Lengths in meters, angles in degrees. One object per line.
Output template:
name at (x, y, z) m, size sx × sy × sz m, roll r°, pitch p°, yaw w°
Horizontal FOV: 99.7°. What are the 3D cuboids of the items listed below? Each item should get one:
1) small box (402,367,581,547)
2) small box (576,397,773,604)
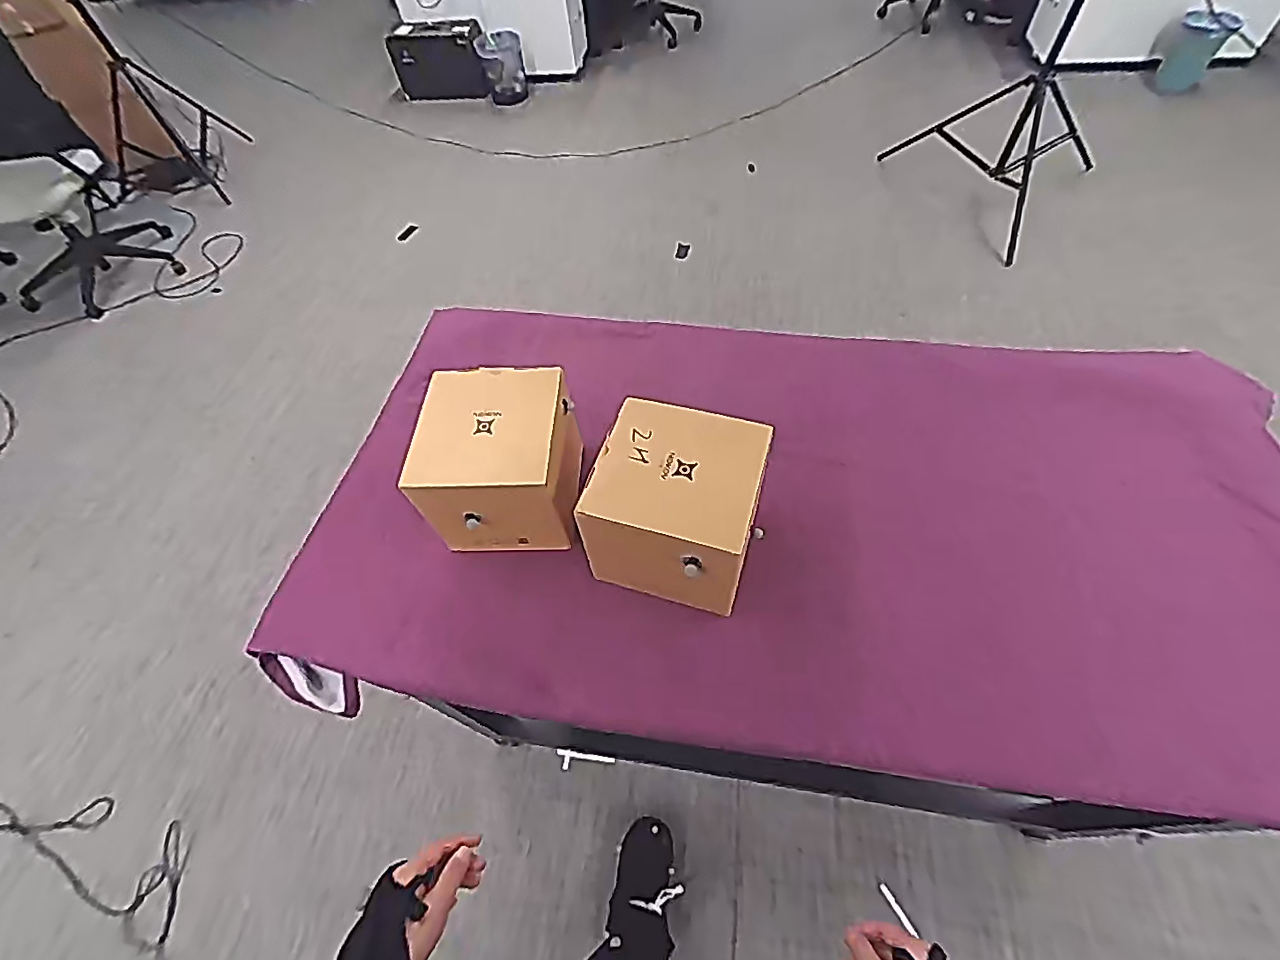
small box at (-0.174, -0.022, 0.698) m, size 0.168 × 0.176 × 0.179 m, roll -2°, pitch 56°, yaw 4°
small box at (0.046, 0.030, 0.643) m, size 0.179 × 0.176 × 0.168 m, roll 13°, pitch 57°, yaw 14°
